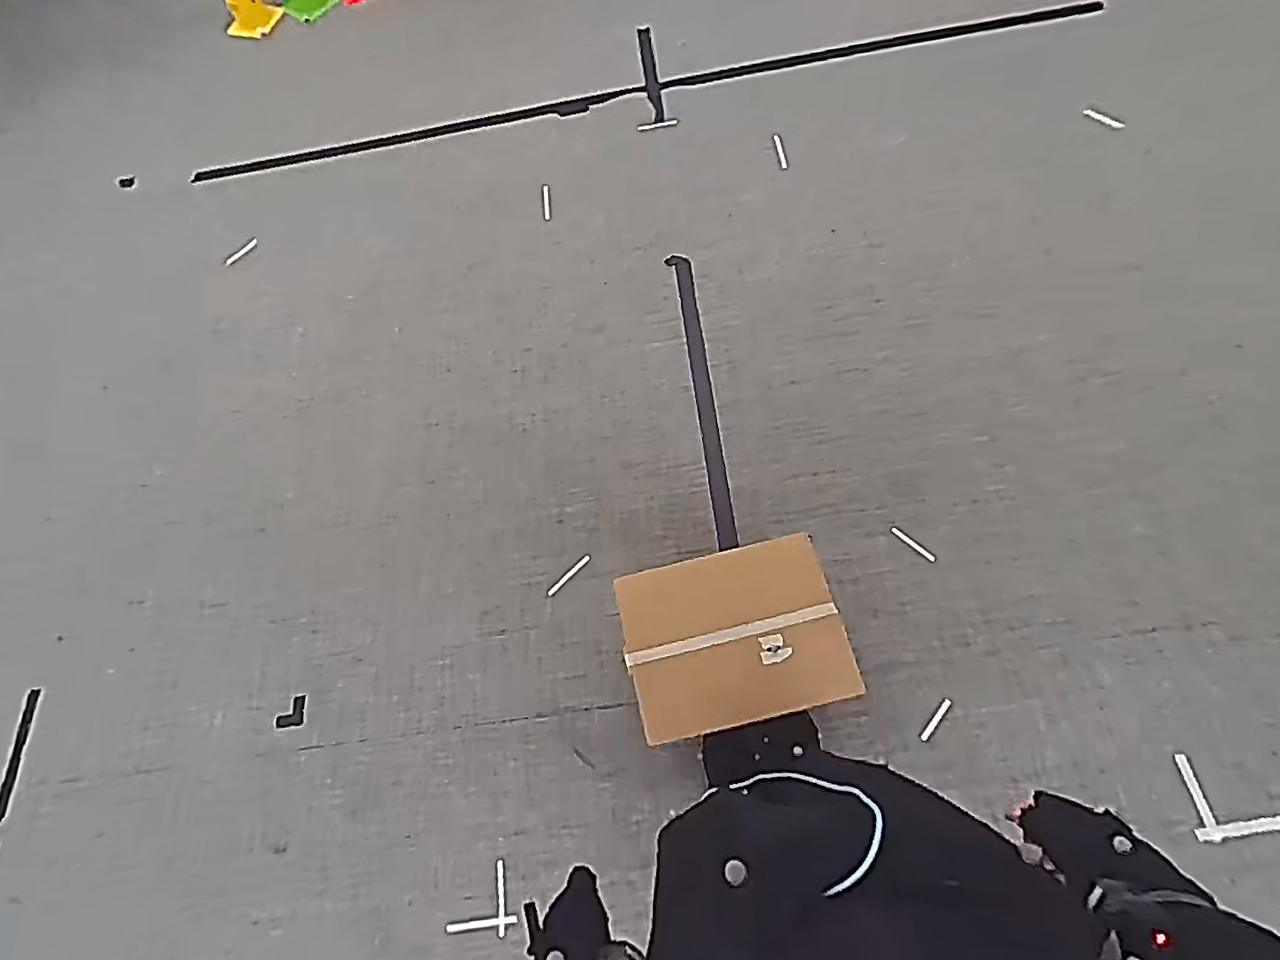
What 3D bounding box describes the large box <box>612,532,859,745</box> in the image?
[{"bbox_3d":[0.181,0.343,1.160,0.408,0.320,0.320,-14,69,-1],"label":"large box"}]
